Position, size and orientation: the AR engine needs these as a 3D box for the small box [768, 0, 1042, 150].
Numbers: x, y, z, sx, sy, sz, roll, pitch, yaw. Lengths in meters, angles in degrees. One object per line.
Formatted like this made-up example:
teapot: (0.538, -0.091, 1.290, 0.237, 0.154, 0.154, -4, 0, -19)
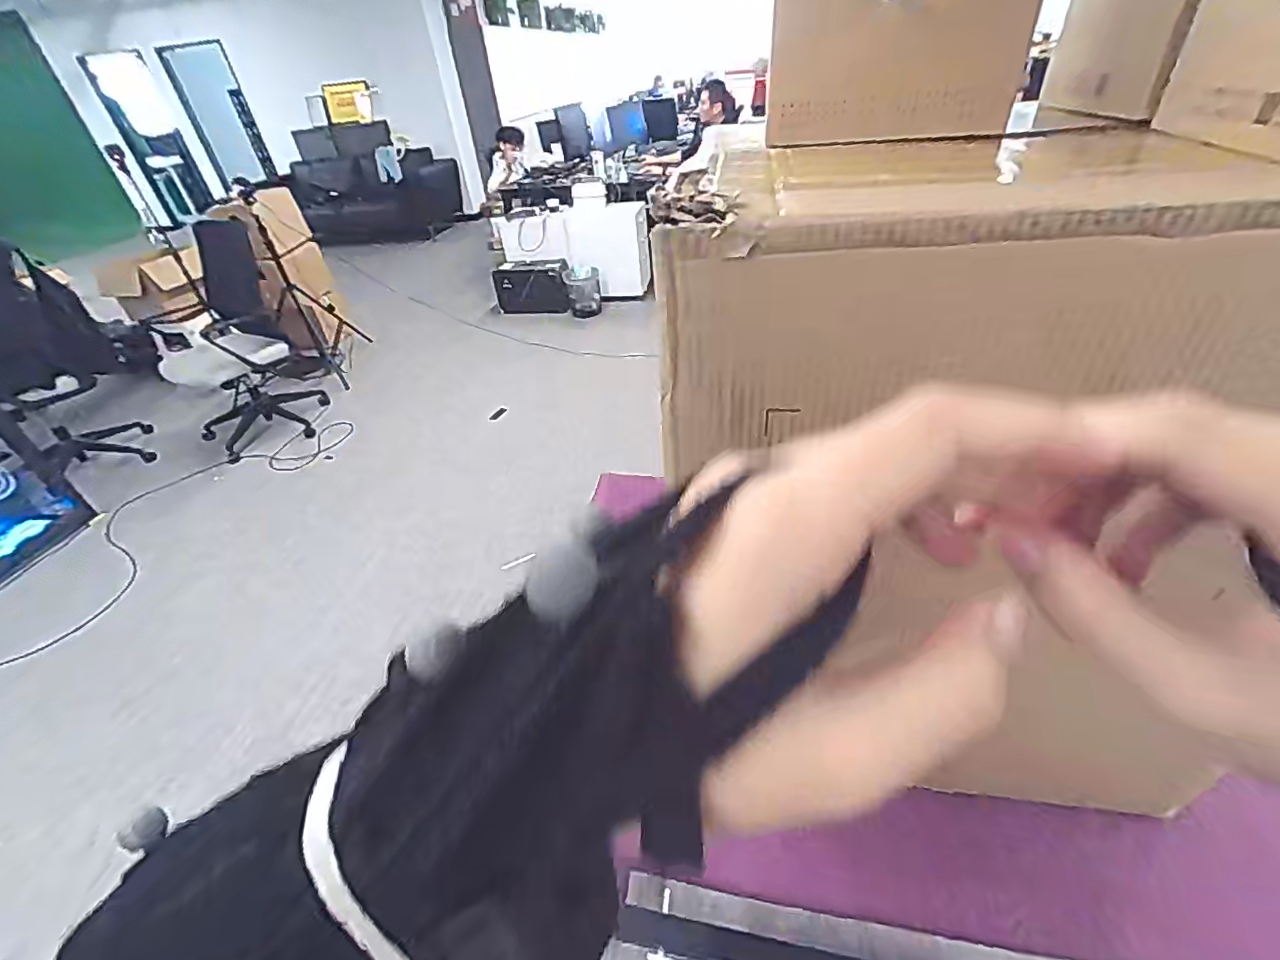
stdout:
small box: (0.198, -0.369, 0.419, 0.179, 0.176, 0.168, 4, 37, 15)
